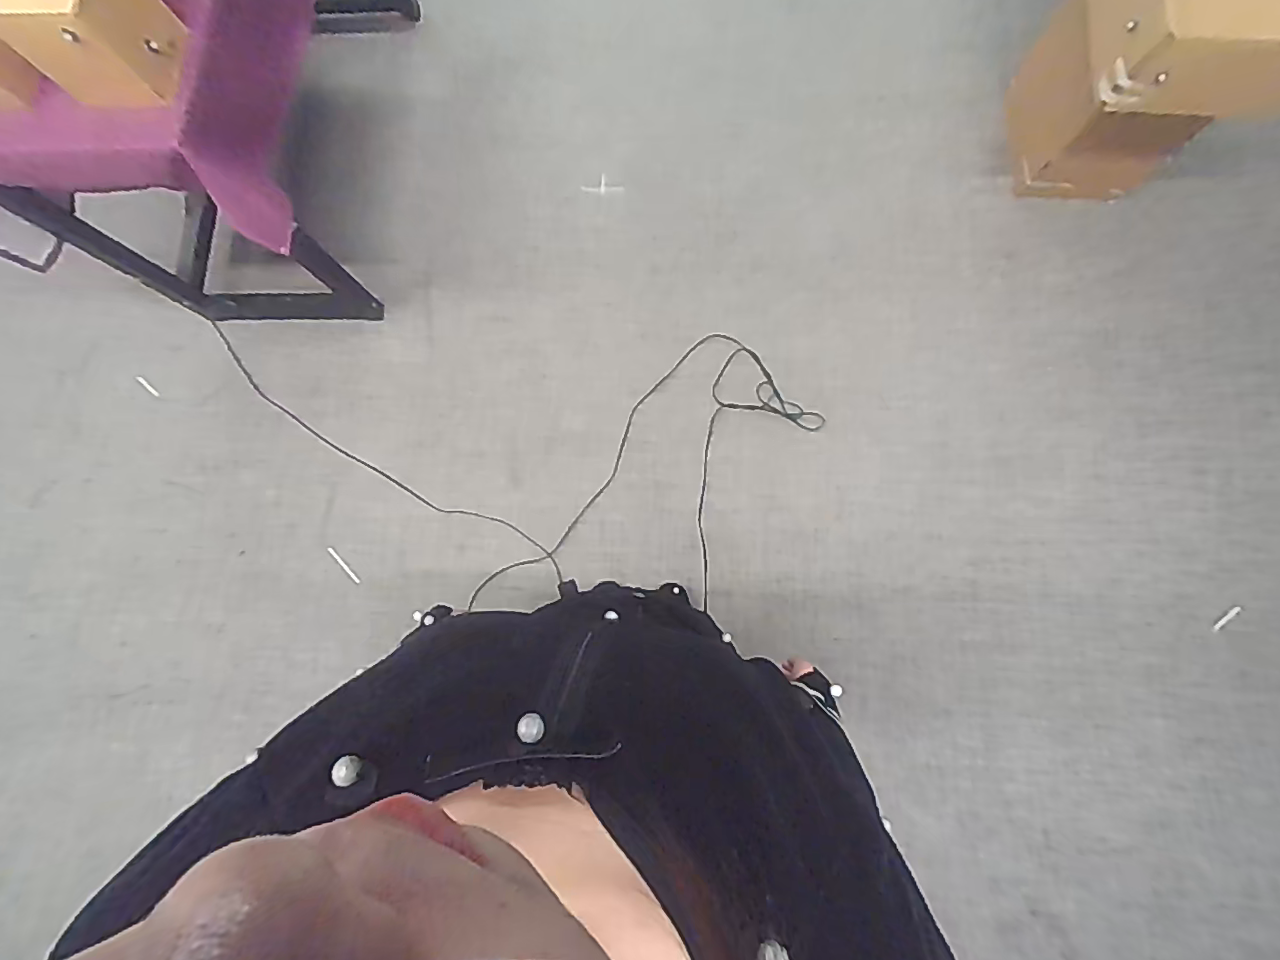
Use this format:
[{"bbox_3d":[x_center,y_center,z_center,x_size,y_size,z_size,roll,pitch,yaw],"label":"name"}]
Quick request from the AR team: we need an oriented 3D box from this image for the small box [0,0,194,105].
[{"bbox_3d":[-0.938,-0.787,0.936,0.179,0.176,0.168,3,80,4],"label":"small box"}]

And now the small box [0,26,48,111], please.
[{"bbox_3d":[-1.210,-0.798,0.954,0.168,0.176,0.179,3,80,4],"label":"small box"}]
